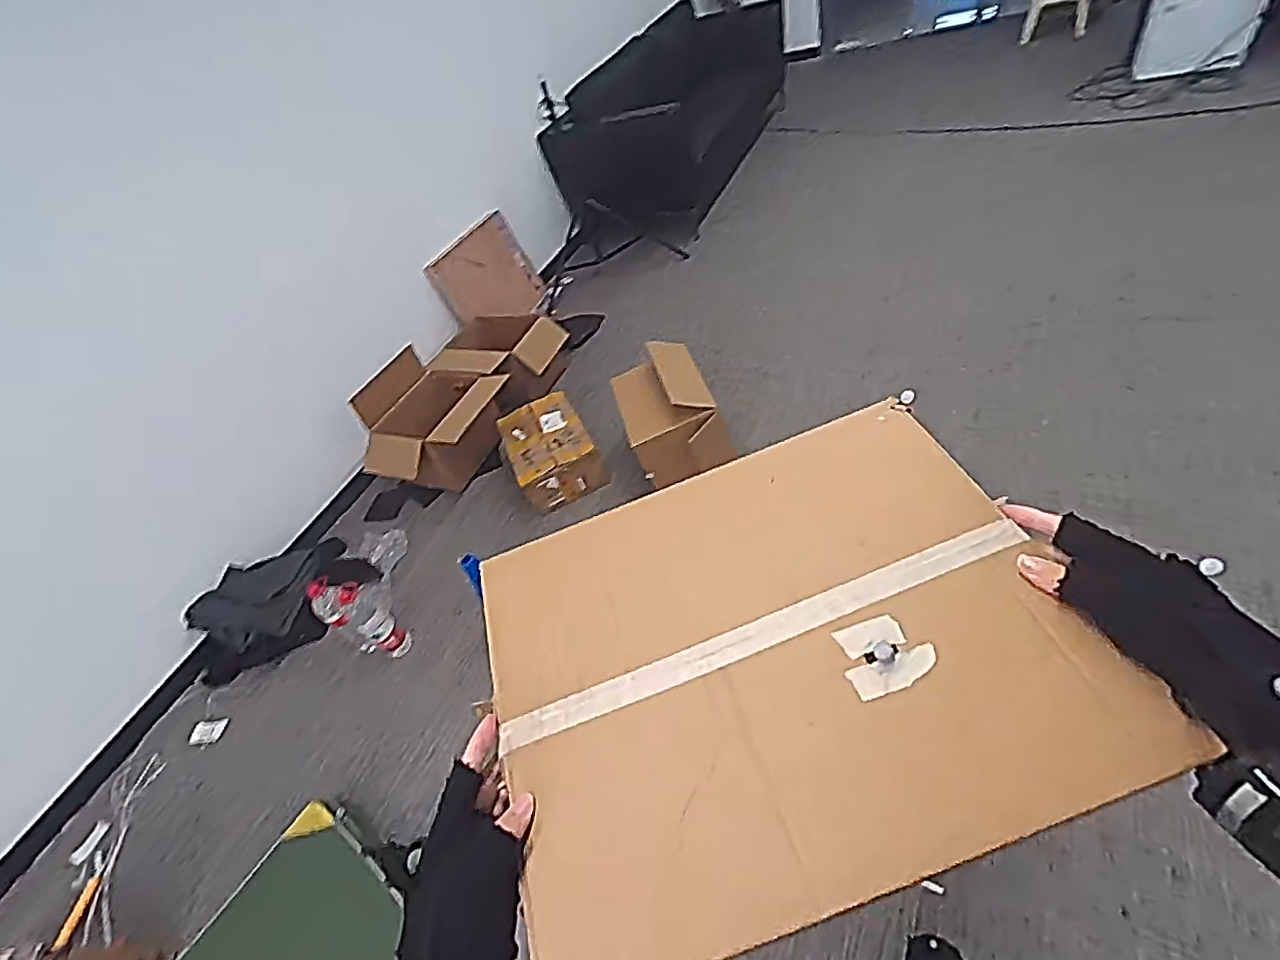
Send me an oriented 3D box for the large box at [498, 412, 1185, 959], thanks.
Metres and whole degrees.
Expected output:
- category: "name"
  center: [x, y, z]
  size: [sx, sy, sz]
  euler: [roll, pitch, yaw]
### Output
- category: "large box"
  center: [0.128, 0.206, 0.522]
  size: [0.408, 0.320, 0.320]
  euler: [-22, 52, -1]
